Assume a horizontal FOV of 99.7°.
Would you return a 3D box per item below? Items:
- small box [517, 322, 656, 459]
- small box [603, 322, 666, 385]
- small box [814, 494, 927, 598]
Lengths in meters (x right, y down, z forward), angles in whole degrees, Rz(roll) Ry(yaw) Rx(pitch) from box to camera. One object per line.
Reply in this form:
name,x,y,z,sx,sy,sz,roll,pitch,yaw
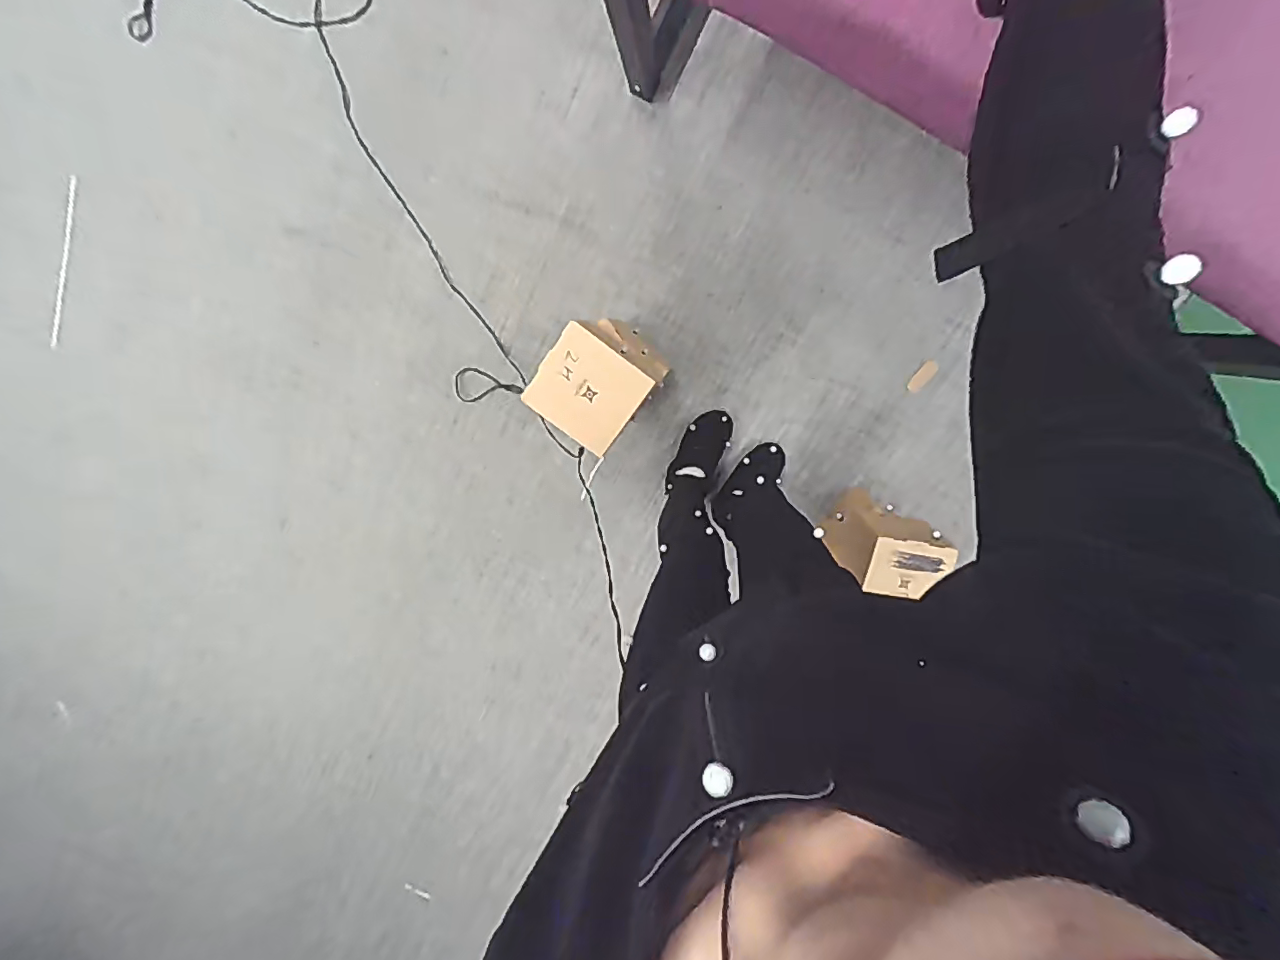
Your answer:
small box,-0.085,-0.168,0.980,0.179,0.176,0.168,37,105,-4
small box,-0.051,-0.258,1.292,0.168,0.176,0.179,44,106,-6
small box,0.562,0.153,1.346,0.179,0.176,0.168,38,106,-5
